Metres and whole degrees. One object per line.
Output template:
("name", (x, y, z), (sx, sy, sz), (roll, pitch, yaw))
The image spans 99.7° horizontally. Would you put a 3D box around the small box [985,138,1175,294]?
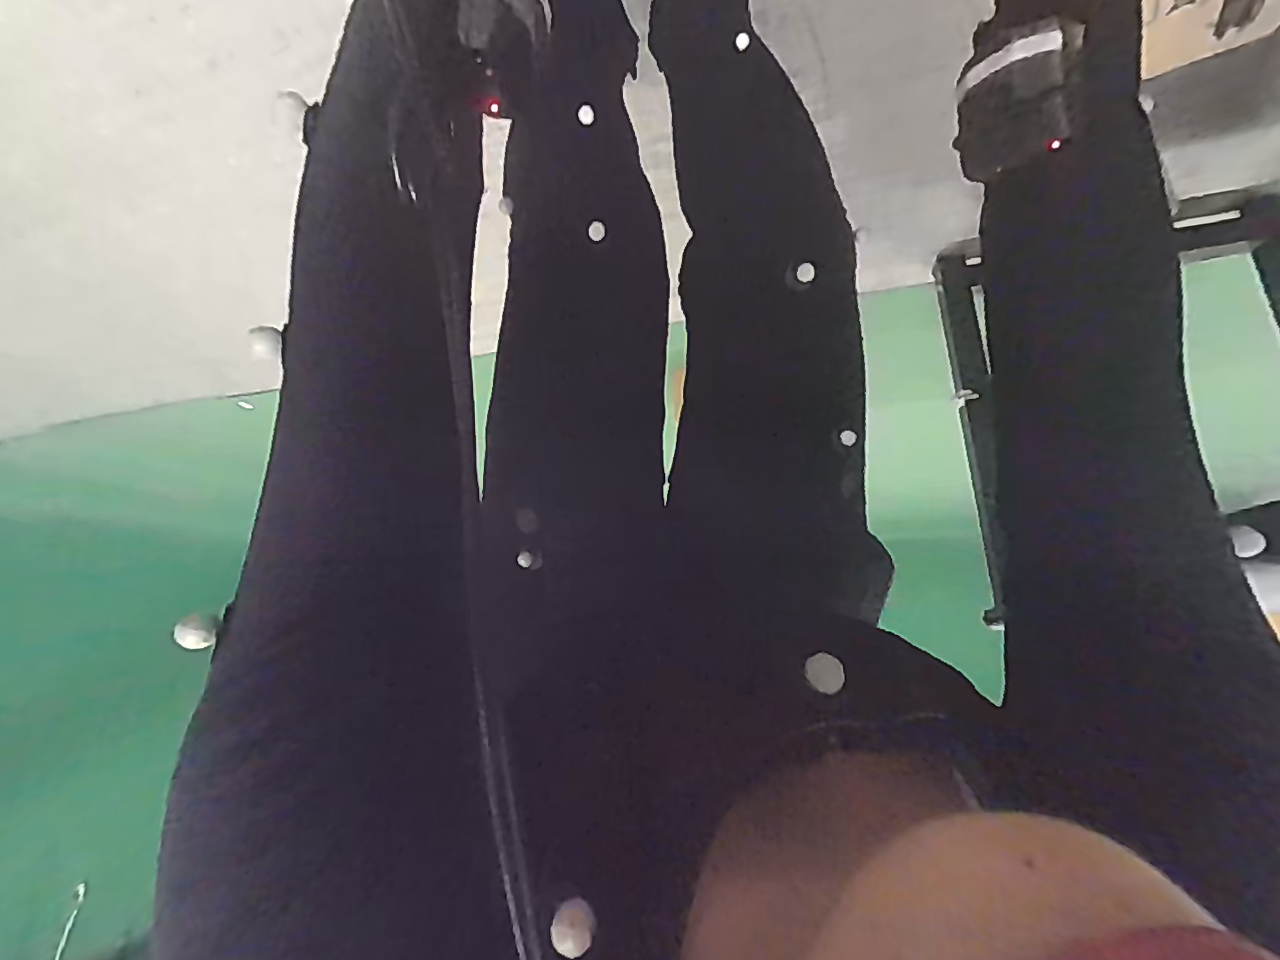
("small box", (0.703, -0.434, 0.892), (0.168, 0.176, 0.179), (-1, 165, 4))
